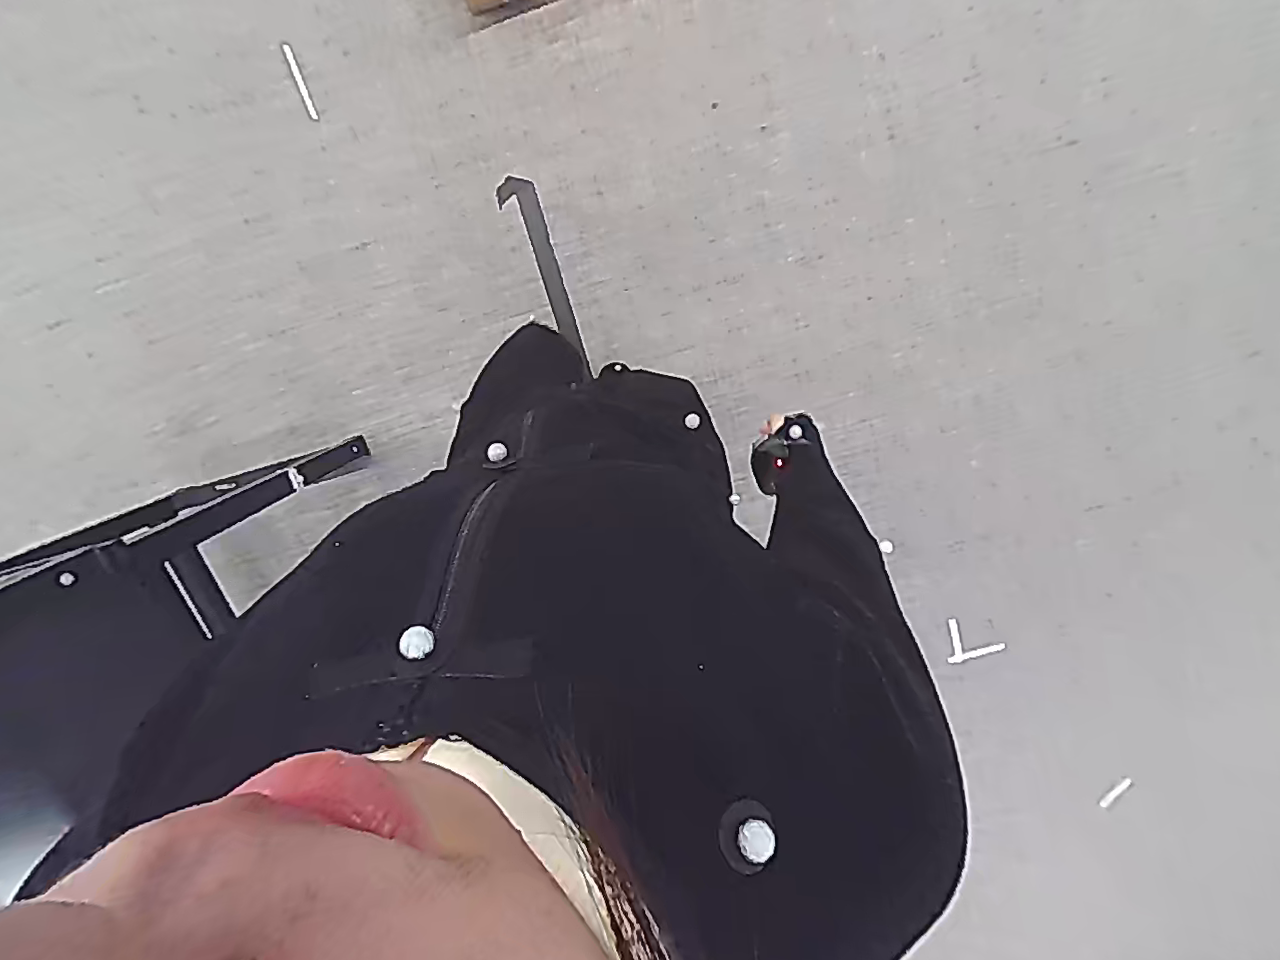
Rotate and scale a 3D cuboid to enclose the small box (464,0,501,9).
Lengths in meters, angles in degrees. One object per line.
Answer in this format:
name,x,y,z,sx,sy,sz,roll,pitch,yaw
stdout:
small box,-0.306,-1.085,1.063,0.179,0.176,0.168,-16,107,4
